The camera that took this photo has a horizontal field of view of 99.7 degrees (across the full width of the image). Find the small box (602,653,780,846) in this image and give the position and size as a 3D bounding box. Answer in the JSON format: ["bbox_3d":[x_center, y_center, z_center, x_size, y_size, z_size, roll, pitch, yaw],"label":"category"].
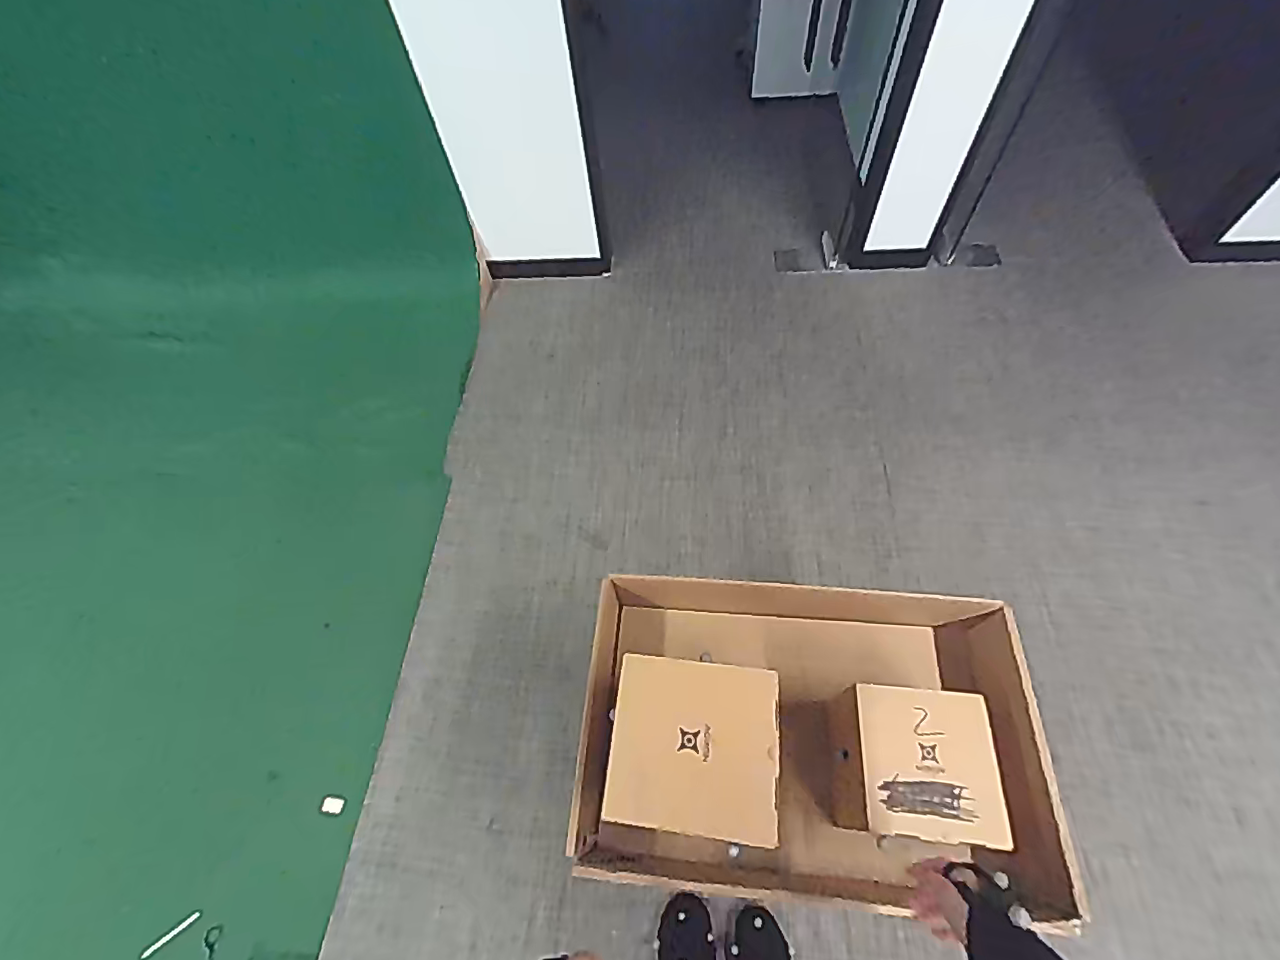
[{"bbox_3d":[0.064,0.314,0.635,0.179,0.176,0.168,4,61,7],"label":"small box"}]
